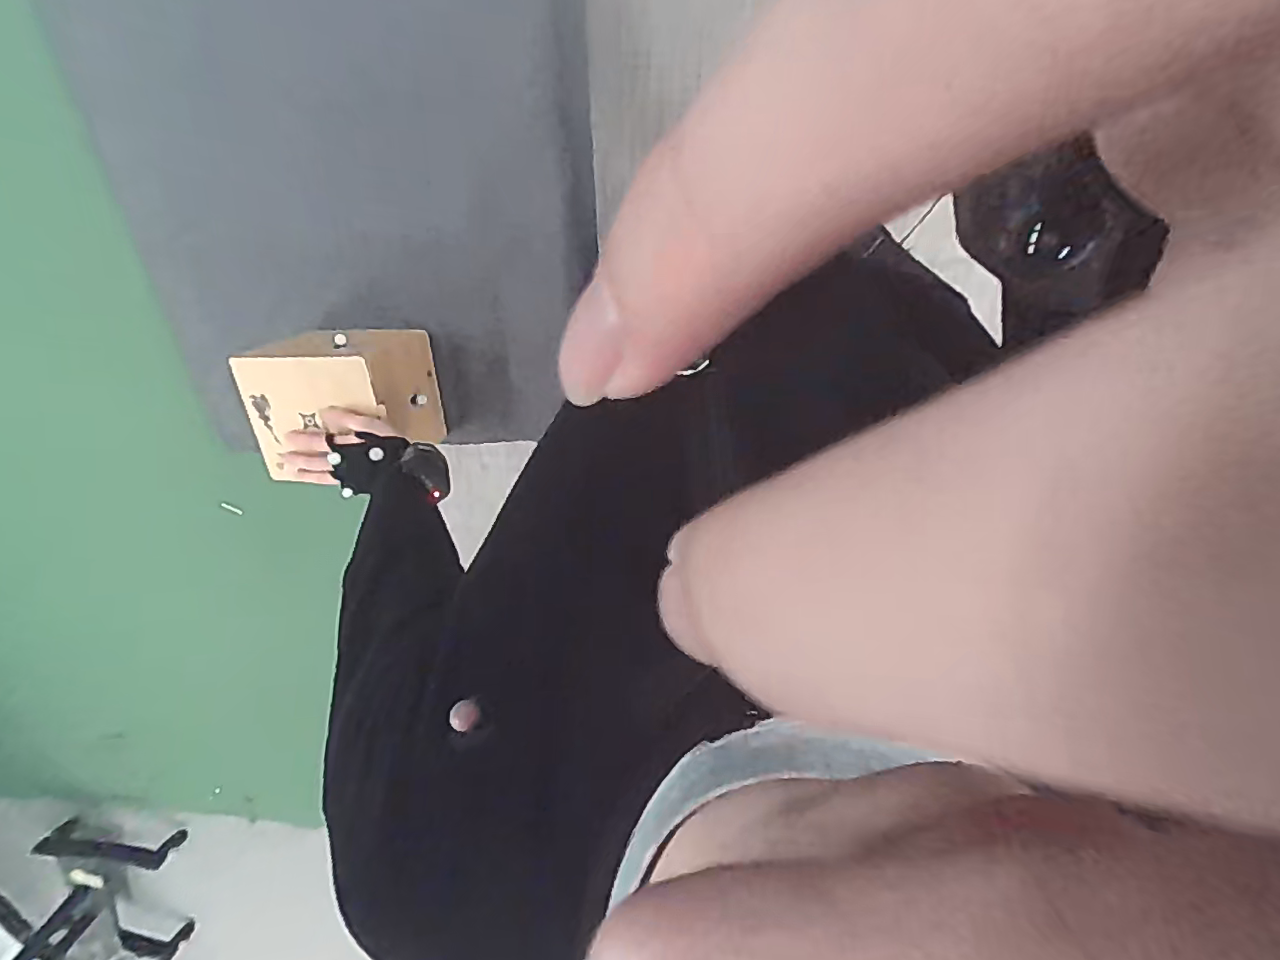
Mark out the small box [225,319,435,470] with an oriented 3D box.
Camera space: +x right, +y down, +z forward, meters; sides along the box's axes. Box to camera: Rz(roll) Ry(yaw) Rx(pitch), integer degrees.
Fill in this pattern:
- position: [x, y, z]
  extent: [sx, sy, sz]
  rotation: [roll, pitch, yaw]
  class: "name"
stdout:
- position: [-0.398, -0.122, 0.739]
  extent: [0.179, 0.176, 0.168]
  rotation: [0, 116, 4]
  class: "small box"
